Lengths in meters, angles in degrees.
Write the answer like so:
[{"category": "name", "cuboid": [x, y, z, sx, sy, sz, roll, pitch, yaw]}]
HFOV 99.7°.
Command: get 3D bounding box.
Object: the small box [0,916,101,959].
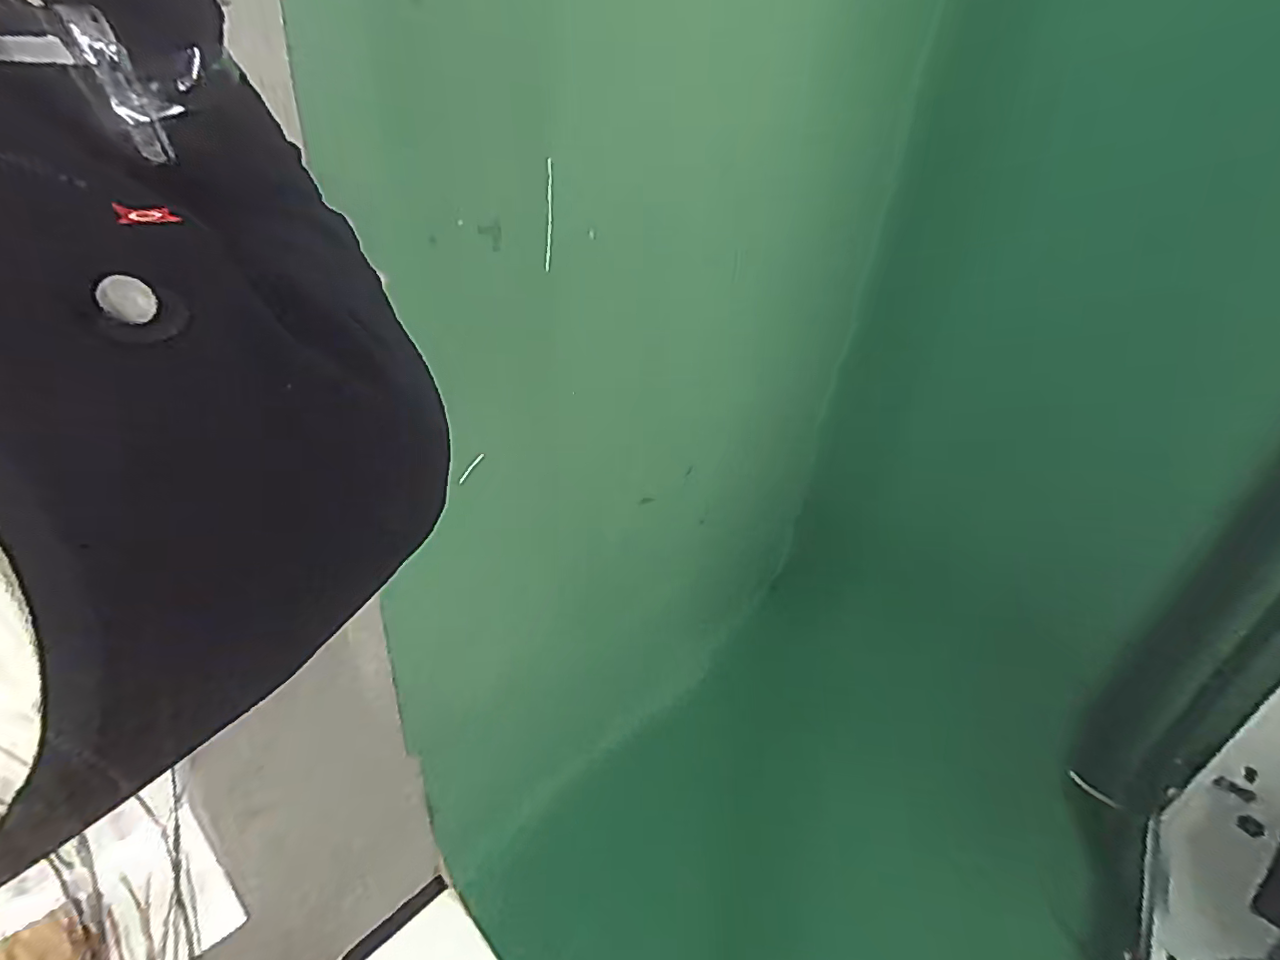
[{"category": "small box", "cuboid": [-0.870, 0.768, 0.745, 0.179, 0.176, 0.168, -23, 128, -41]}]
